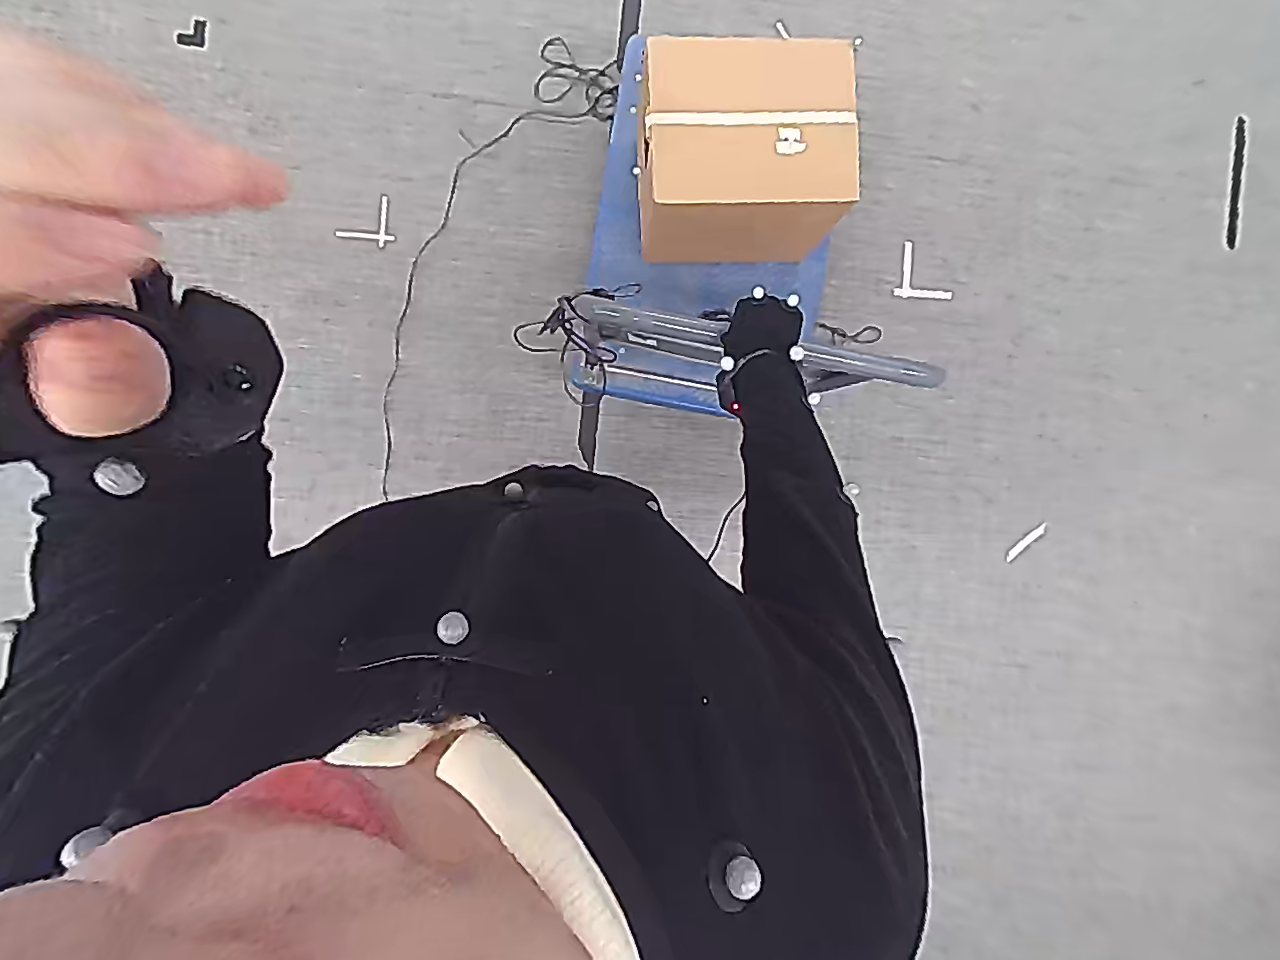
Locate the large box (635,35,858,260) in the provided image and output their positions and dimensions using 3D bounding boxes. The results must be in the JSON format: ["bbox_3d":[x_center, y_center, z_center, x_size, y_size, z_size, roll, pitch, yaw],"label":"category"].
[{"bbox_3d":[0.205,-0.693,1.177,0.408,0.320,0.320,-3,92,-5],"label":"large box"}]
